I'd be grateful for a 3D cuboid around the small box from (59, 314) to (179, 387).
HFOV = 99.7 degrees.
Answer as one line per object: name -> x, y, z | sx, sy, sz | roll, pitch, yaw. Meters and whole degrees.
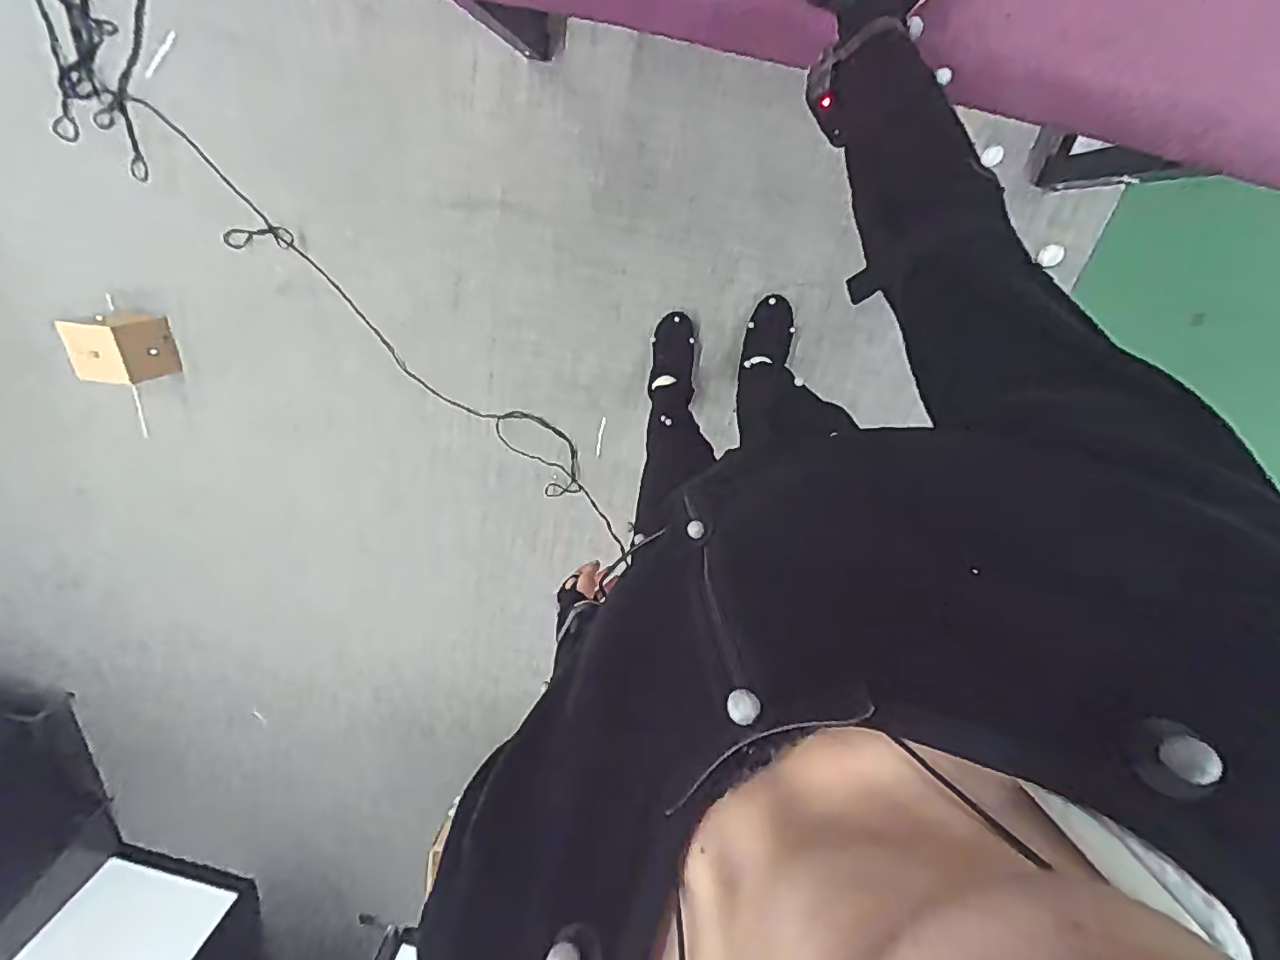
small box -> -1.499, -0.382, 1.576 | 0.179, 0.176, 0.168 | 8, 116, 7
